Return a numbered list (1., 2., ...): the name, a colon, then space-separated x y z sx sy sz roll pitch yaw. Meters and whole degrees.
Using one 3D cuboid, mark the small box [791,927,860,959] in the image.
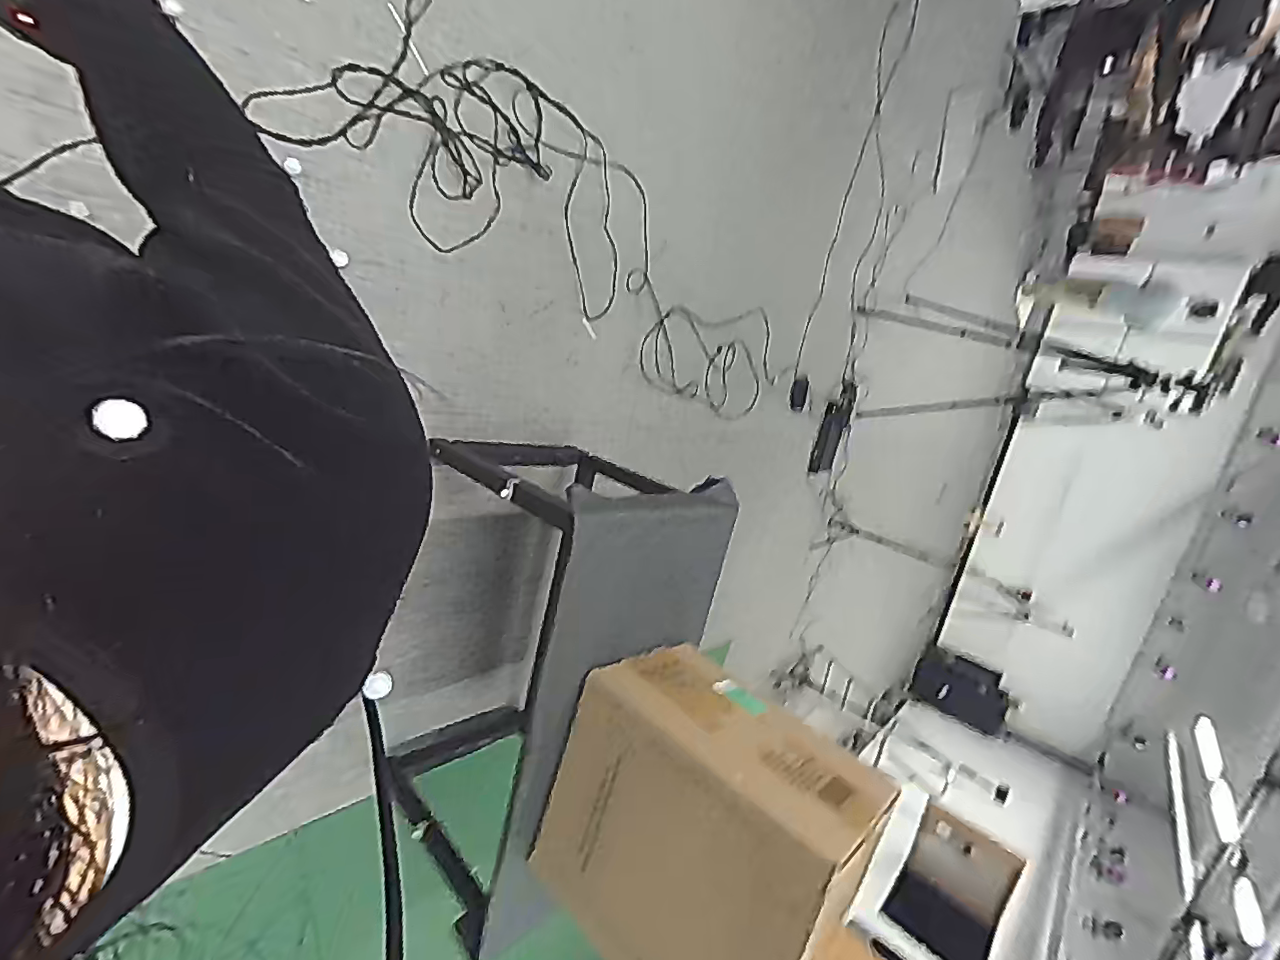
1. small box: 0.331 0.958 0.954 0.179 0.176 0.168 15 97 -50
